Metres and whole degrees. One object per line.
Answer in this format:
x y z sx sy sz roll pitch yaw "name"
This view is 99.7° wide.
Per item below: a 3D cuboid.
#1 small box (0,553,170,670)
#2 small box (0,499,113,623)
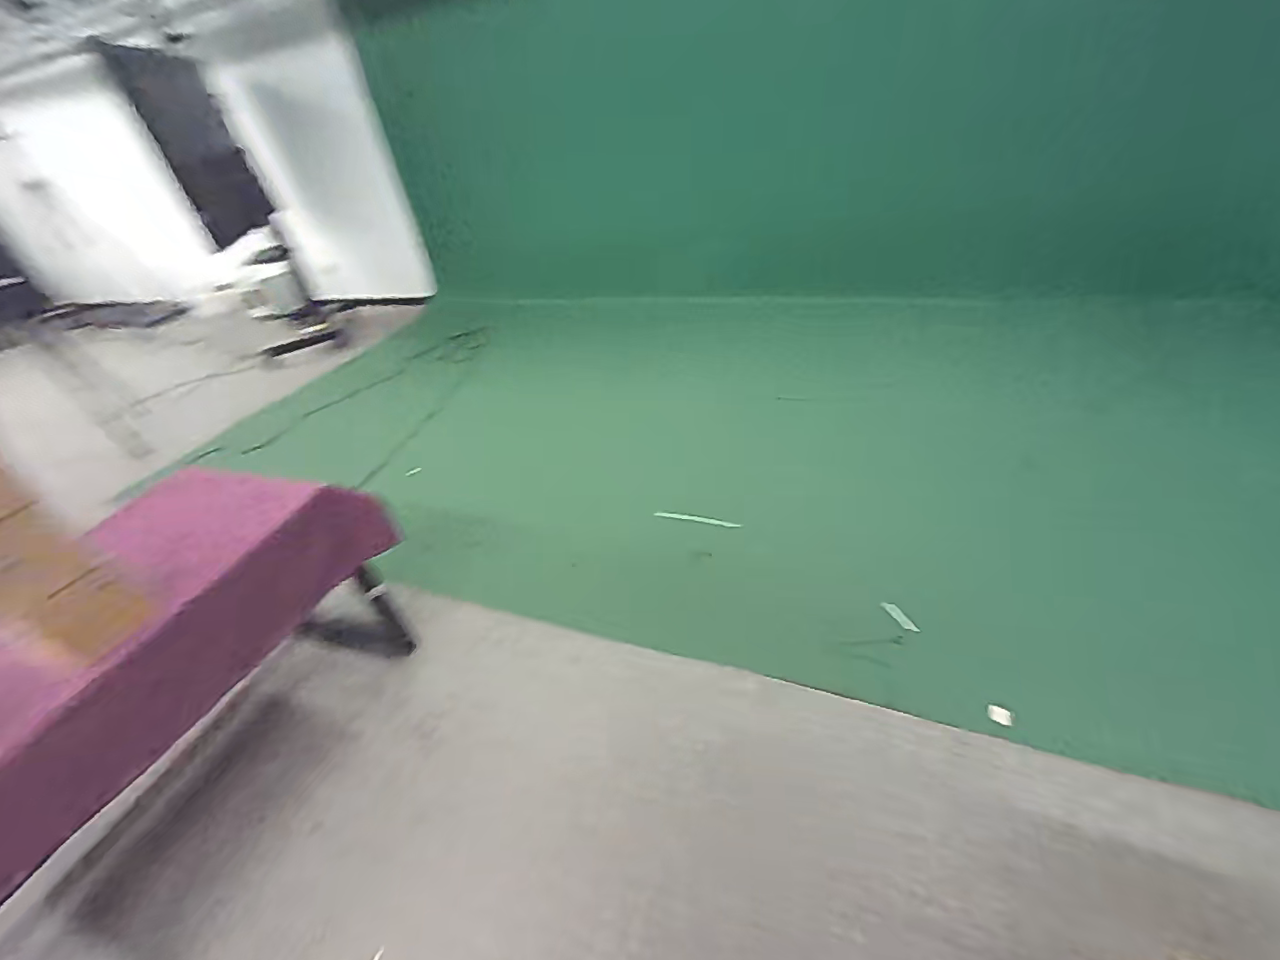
-1.164 0.269 1.136 0.168 0.176 0.179 6 39 22 "small box"
-1.191 0.143 1.034 0.168 0.176 0.179 9 41 24 "small box"
